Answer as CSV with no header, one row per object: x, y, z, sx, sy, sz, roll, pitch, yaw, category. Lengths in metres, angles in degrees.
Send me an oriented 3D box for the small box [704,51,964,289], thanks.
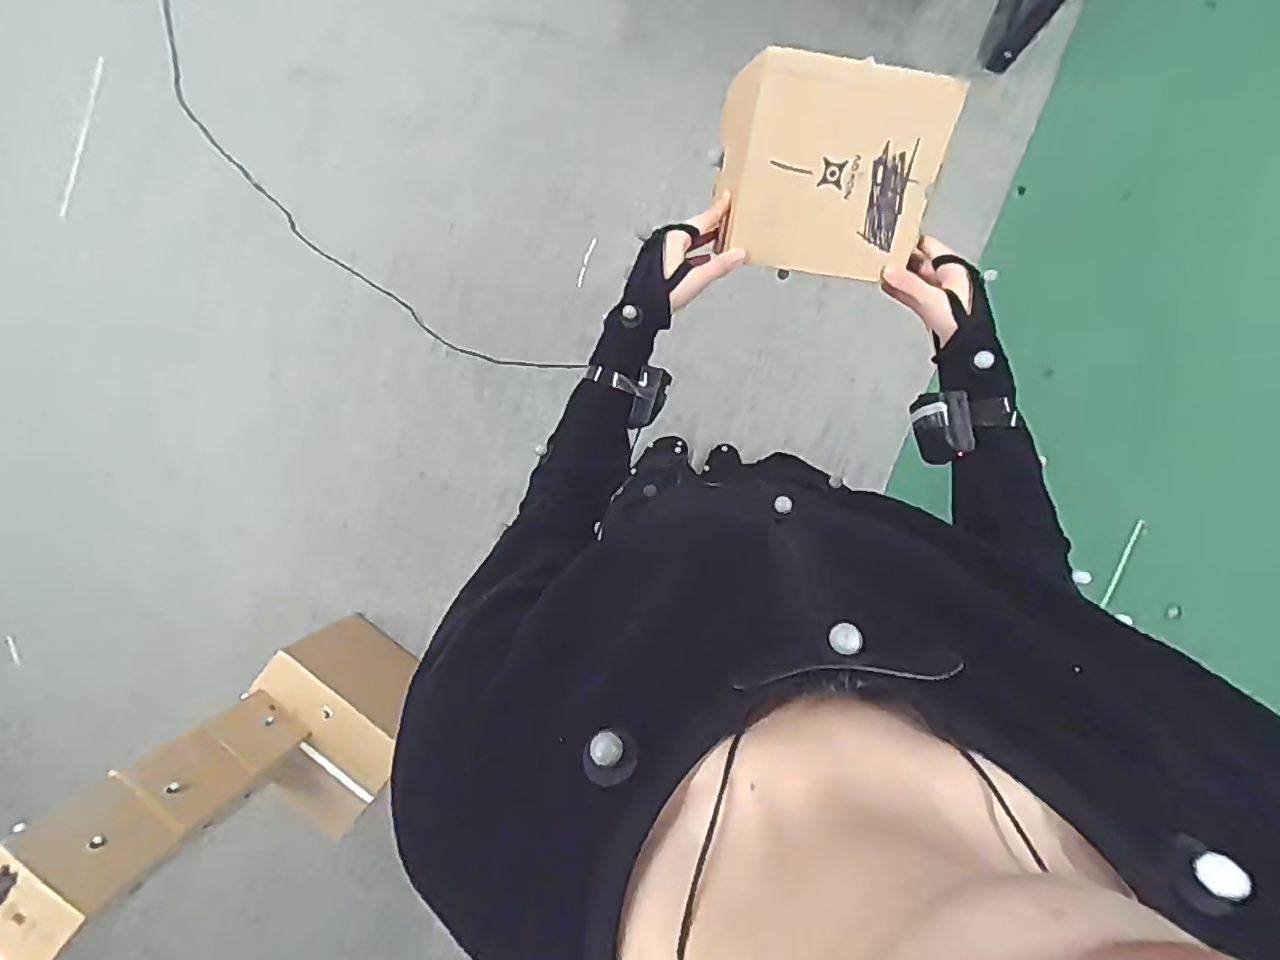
0.174,-0.303,0.550,0.179,0.176,0.168,6,117,-5,small box

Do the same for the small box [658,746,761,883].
0.142,0.694,1.143,0.179,0.176,0.168,12,93,3,small box

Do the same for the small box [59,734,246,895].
-0.932,0.630,1.050,0.179,0.176,0.168,41,96,1,small box

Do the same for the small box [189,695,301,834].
-0.913,0.627,1.211,0.168,0.176,0.179,40,96,1,small box
